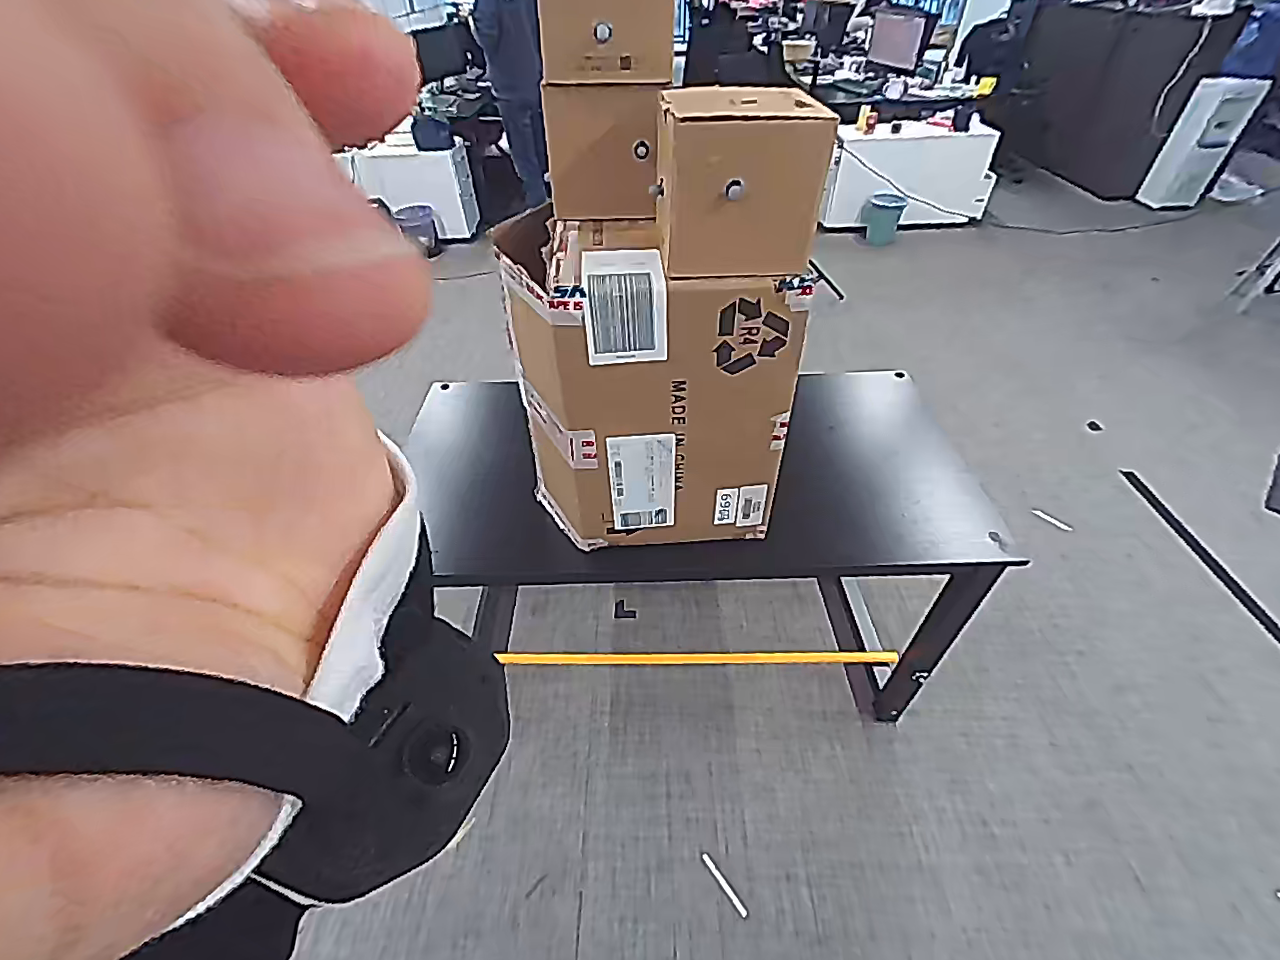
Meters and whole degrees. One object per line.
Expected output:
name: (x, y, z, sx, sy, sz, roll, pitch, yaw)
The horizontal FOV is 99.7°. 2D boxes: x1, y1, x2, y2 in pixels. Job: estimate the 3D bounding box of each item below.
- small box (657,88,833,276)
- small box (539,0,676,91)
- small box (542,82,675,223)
small box: (0.115, -0.366, 0.671, 0.179, 0.176, 0.168, -3, 46, -2)
small box: (-0.043, -0.620, 0.704, 0.168, 0.176, 0.179, -2, 42, -2)
small box: (-0.045, -0.500, 0.817, 0.179, 0.176, 0.168, -3, 41, -2)
